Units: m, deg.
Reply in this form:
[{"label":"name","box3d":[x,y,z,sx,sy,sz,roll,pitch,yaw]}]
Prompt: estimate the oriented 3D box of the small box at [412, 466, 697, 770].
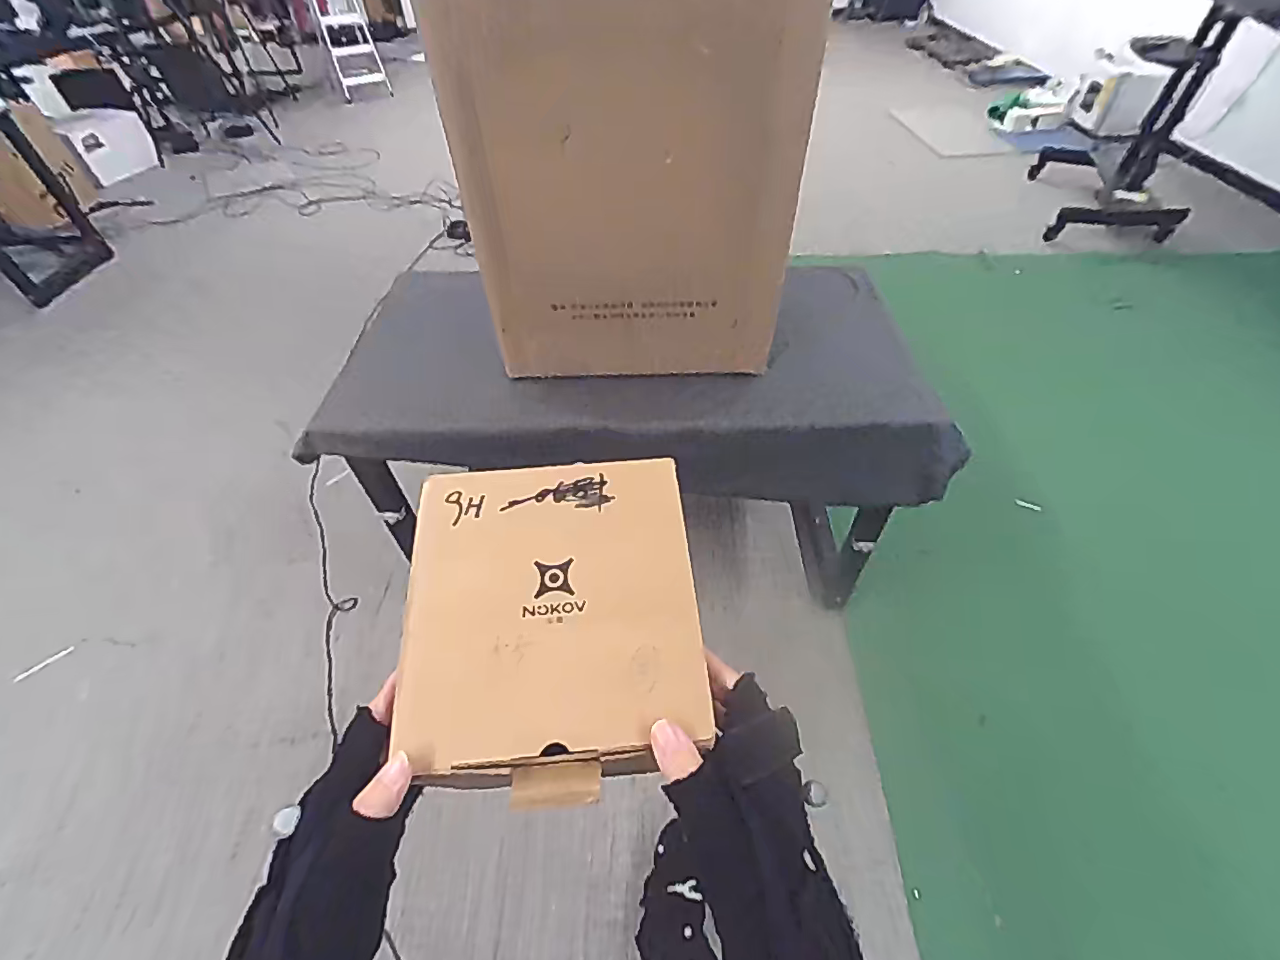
[{"label":"small box","box3d":[-0.055,0.113,0.411,0.168,0.176,0.179,-7,59,-4]}]
